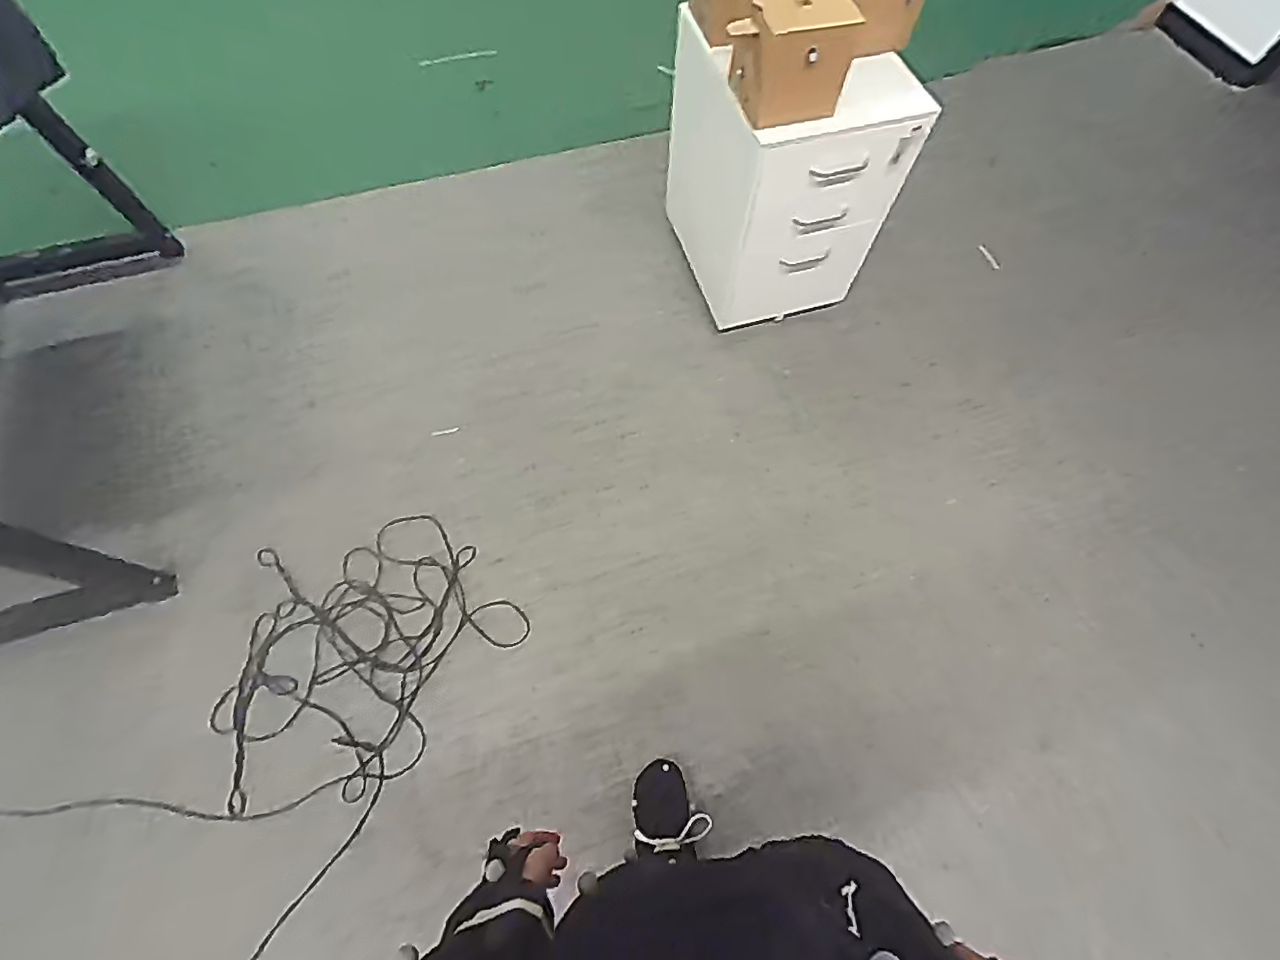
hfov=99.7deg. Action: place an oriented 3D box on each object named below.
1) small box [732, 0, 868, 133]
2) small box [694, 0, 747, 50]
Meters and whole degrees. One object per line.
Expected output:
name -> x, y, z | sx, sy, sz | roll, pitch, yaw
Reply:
small box -> 0.295, -0.808, 1.039 | 0.179, 0.176, 0.168 | -14, 67, -7
small box -> 0.221, -1.052, 1.147 | 0.179, 0.176, 0.168 | -13, 69, -9
